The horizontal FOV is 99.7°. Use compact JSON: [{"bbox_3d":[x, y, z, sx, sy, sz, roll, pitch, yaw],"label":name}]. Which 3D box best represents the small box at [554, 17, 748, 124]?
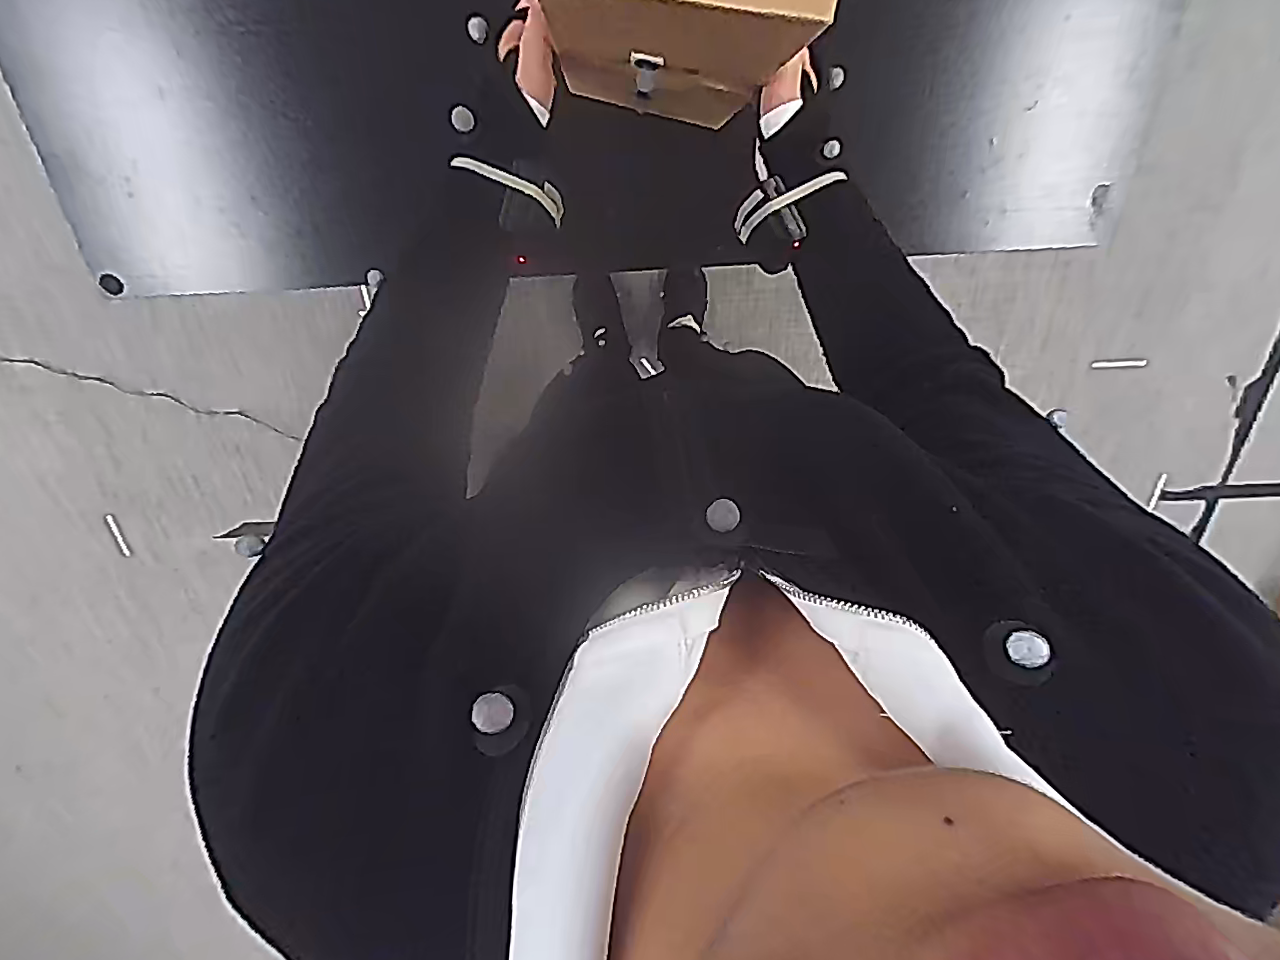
[{"bbox_3d":[0.024,-0.442,0.479,0.168,0.176,0.179,9,114,-8],"label":"small box"}]

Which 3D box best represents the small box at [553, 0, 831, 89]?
[{"bbox_3d":[0.029,-0.372,0.332,0.168,0.176,0.179,4,116,-4],"label":"small box"}]
